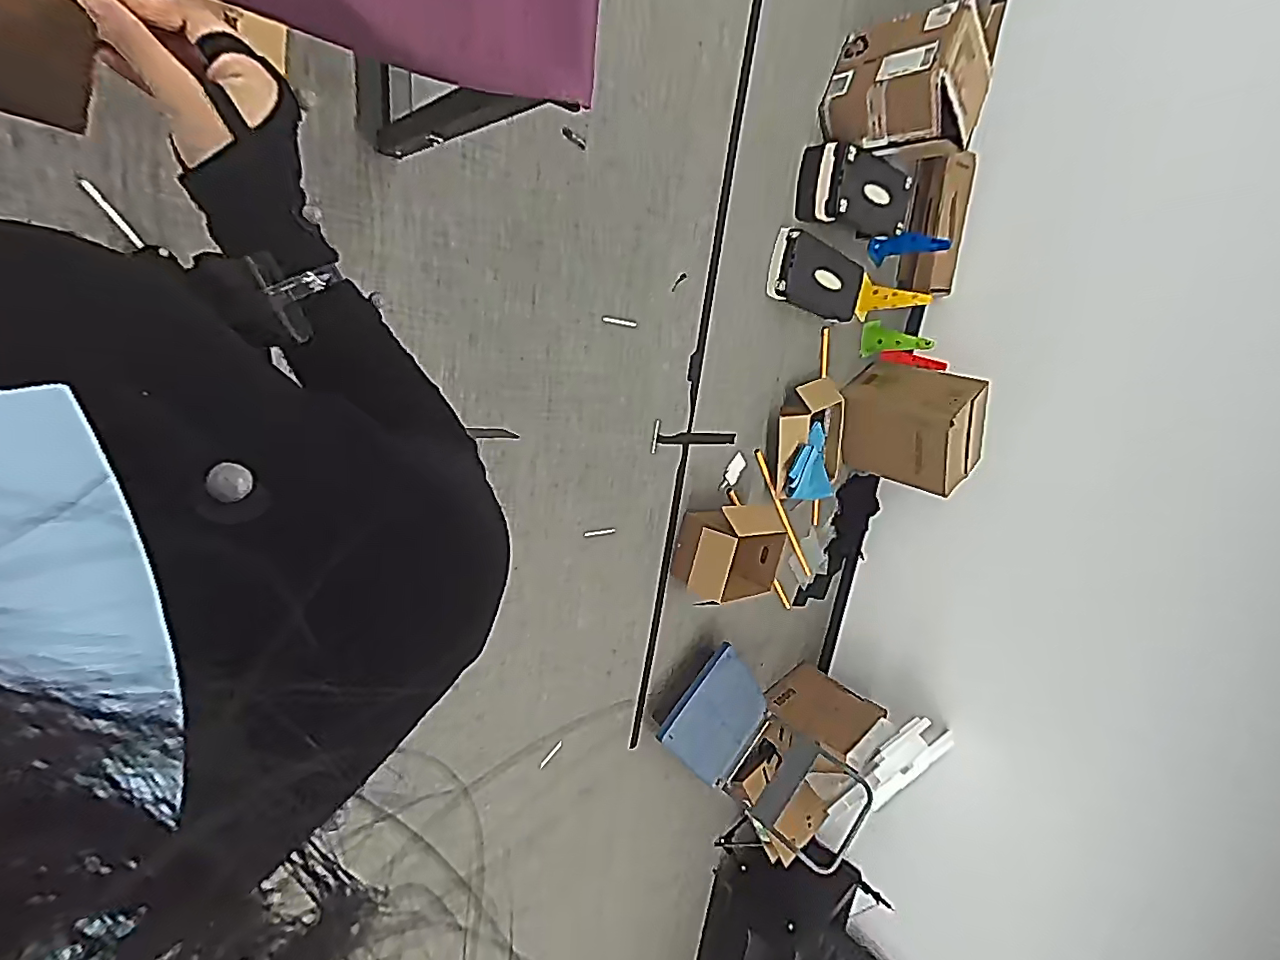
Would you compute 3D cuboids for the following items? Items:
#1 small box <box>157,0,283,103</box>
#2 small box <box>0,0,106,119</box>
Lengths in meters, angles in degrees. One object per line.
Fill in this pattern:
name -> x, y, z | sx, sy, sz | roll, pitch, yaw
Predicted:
small box -> -0.772, -0.833, 0.993 | 0.168, 0.176, 0.179 | -1, 107, -44
small box -> -0.406, -0.341, 0.289 | 0.168, 0.176, 0.179 | -4, 93, -48
